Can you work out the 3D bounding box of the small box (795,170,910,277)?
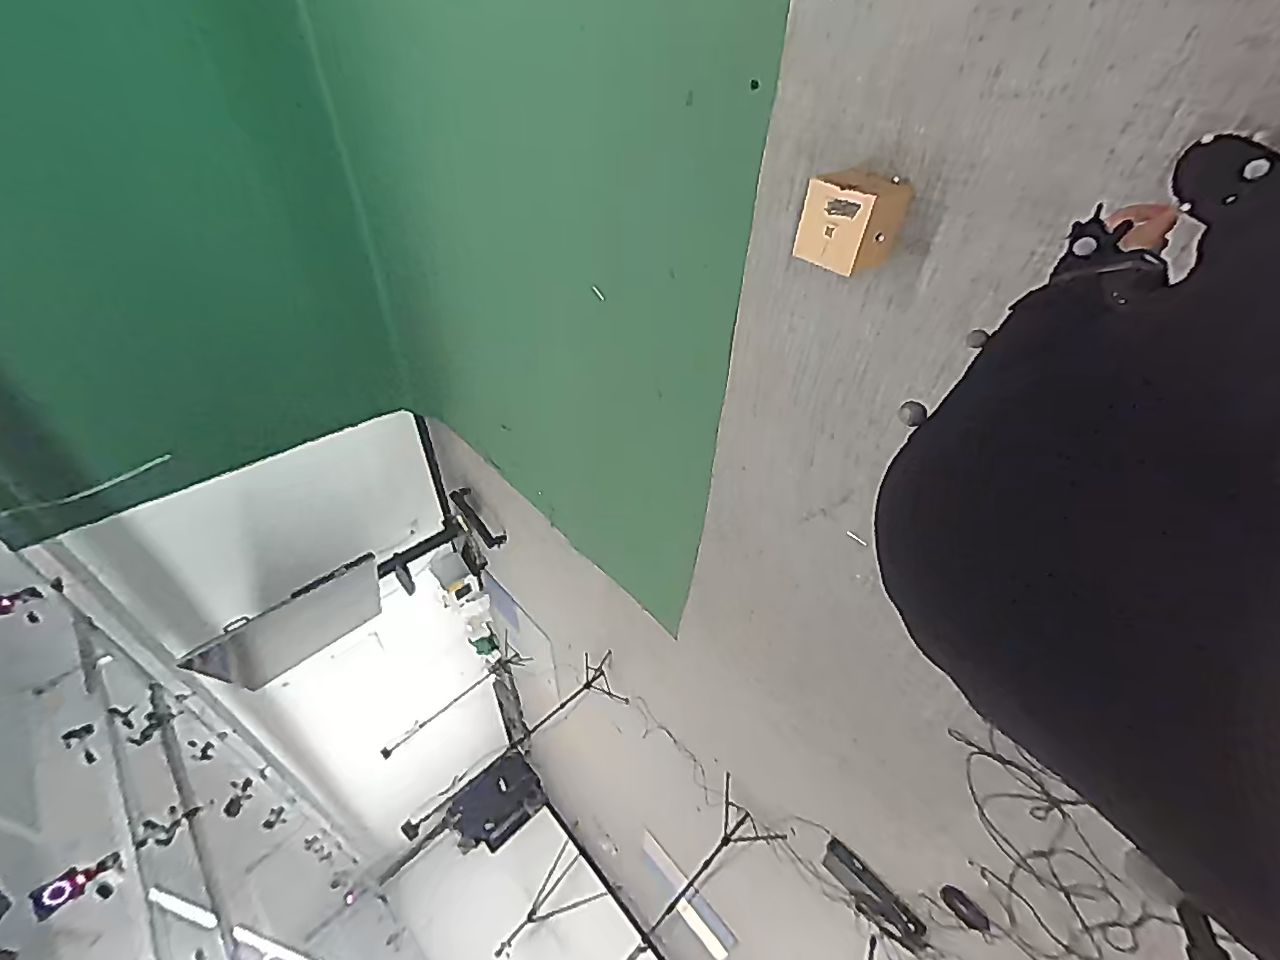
[{"bbox_3d":[0.500,-0.607,1.268,0.168,0.176,0.179,39,143,30],"label":"small box"}]
